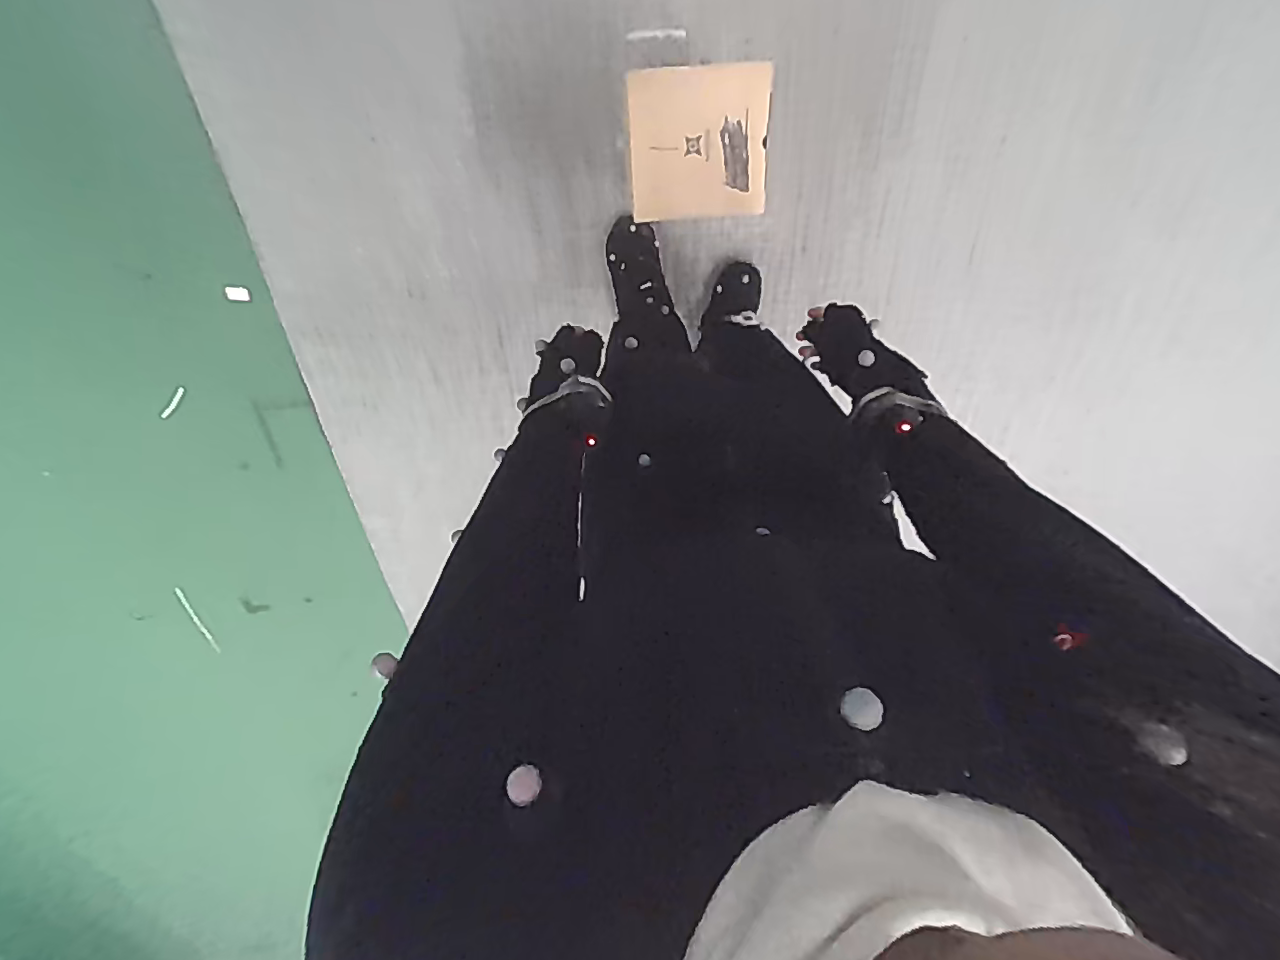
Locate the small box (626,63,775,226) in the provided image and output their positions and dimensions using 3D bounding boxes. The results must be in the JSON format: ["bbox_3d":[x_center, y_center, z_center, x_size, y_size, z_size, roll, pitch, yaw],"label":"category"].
[{"bbox_3d":[0.077,-0.464,0.749,0.179,0.176,0.168,-6,124,1],"label":"small box"}]
